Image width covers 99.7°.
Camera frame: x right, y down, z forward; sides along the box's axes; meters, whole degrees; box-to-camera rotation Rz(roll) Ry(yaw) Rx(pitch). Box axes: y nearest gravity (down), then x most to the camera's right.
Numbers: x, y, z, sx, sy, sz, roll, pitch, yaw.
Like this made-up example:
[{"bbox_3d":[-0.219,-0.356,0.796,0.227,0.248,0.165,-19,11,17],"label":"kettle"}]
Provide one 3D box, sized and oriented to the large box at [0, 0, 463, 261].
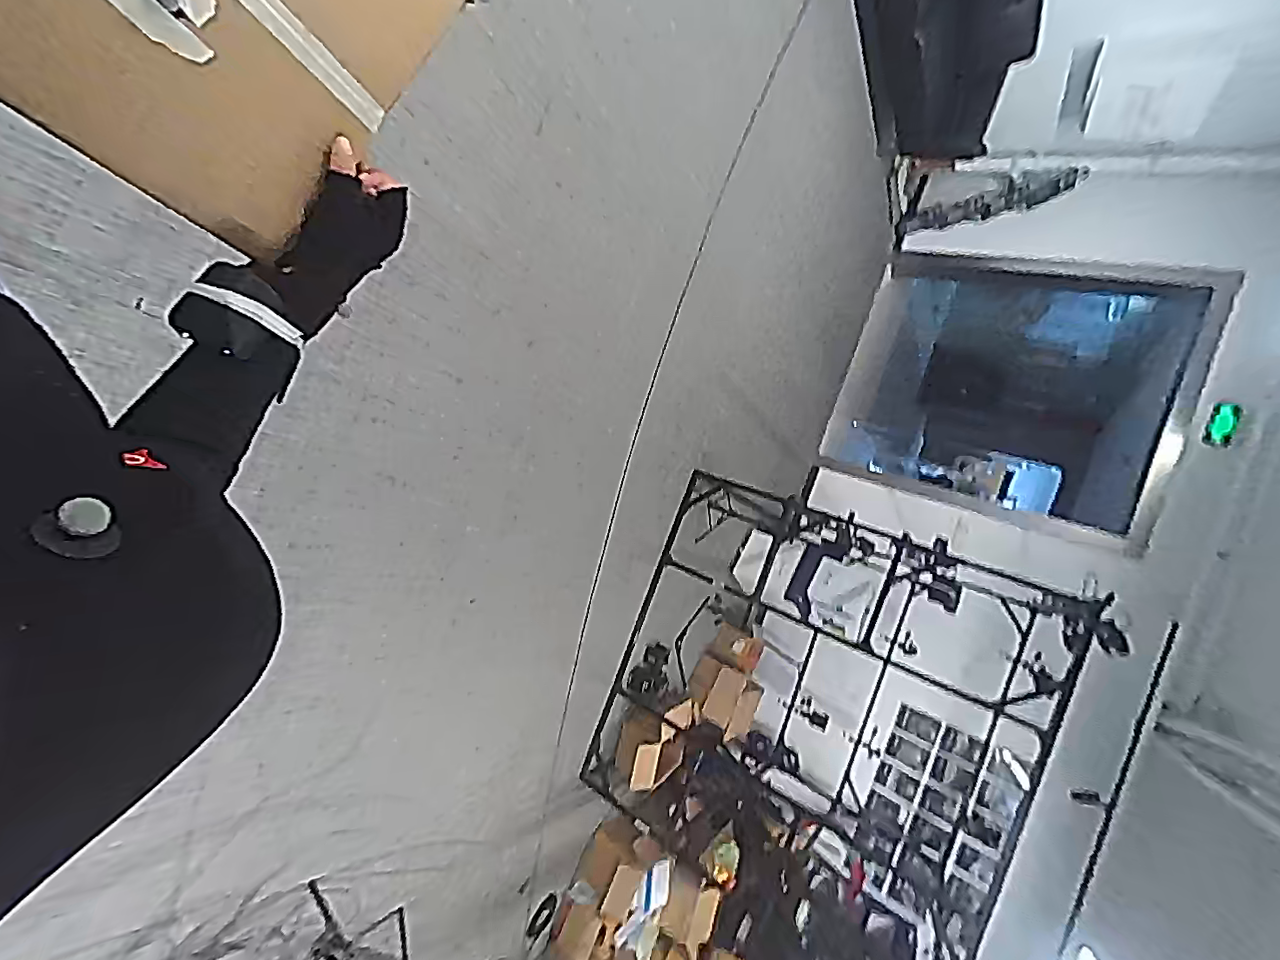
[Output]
[{"bbox_3d":[-0.424,-0.444,0.388,0.320,0.320,0.408,-55,148,0],"label":"large box"}]
